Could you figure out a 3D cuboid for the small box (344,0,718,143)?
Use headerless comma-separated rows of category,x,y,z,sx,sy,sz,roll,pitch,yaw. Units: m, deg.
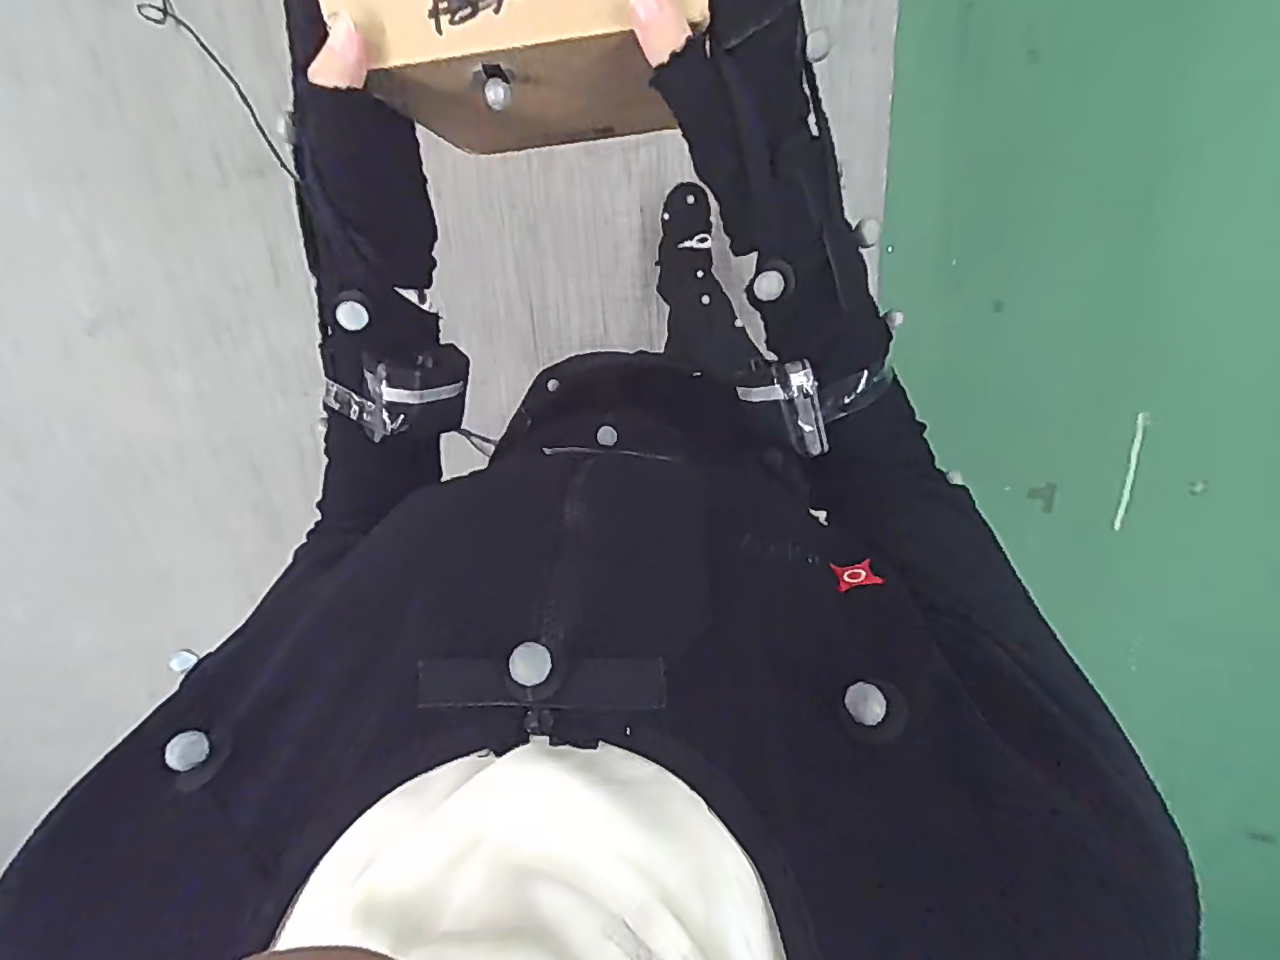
small box,-0.056,-0.308,0.284,0.168,0.176,0.179,-8,110,4
